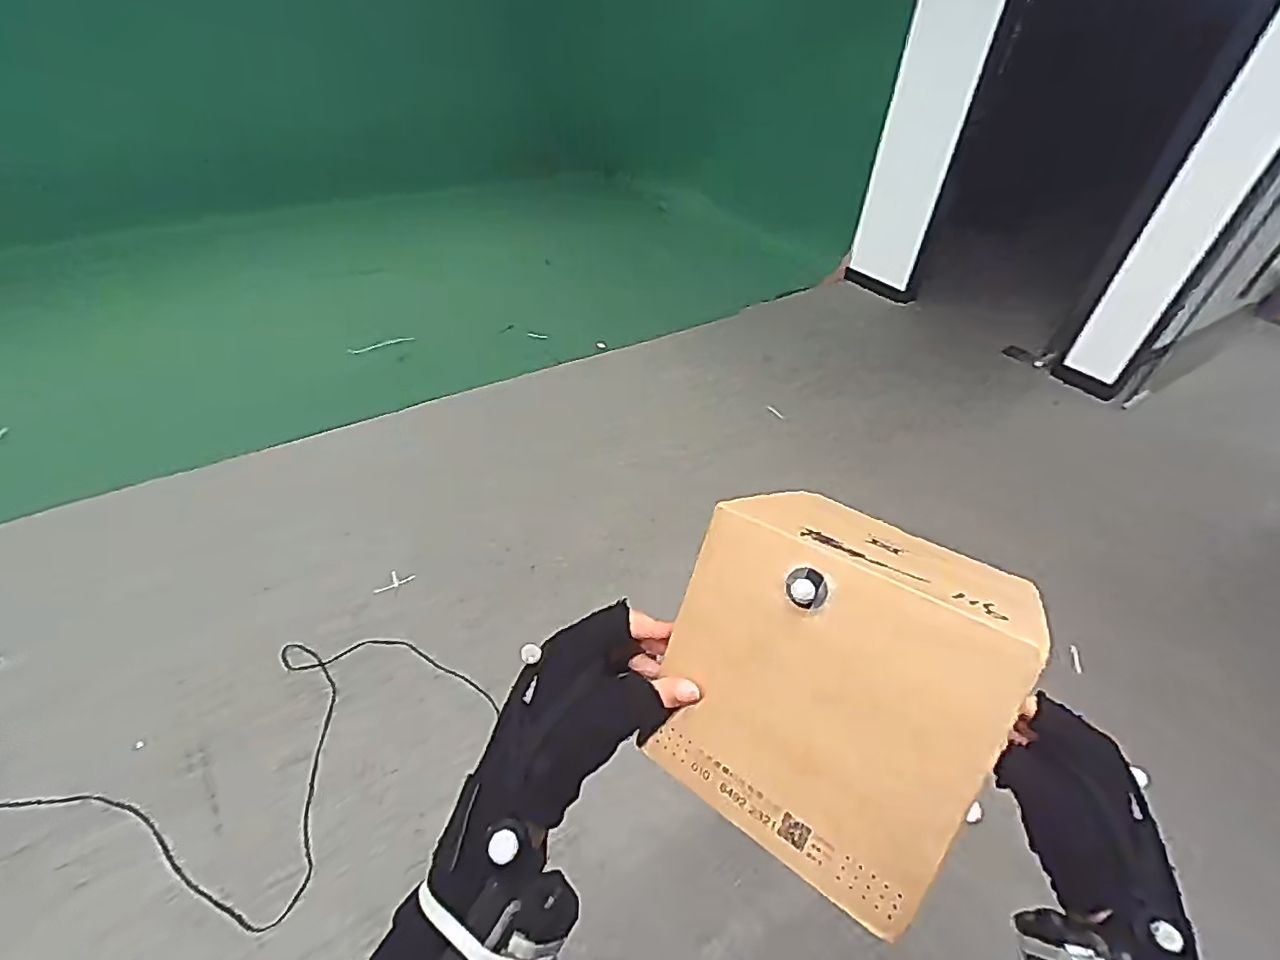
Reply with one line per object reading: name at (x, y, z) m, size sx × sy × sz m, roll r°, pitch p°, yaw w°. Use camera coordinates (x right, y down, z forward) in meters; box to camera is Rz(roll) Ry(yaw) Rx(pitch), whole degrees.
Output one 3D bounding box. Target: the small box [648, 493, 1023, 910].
small box at (0.128, 0.118, 0.364) m, size 0.168 × 0.176 × 0.179 m, roll 25°, pitch 13°, yaw 32°
